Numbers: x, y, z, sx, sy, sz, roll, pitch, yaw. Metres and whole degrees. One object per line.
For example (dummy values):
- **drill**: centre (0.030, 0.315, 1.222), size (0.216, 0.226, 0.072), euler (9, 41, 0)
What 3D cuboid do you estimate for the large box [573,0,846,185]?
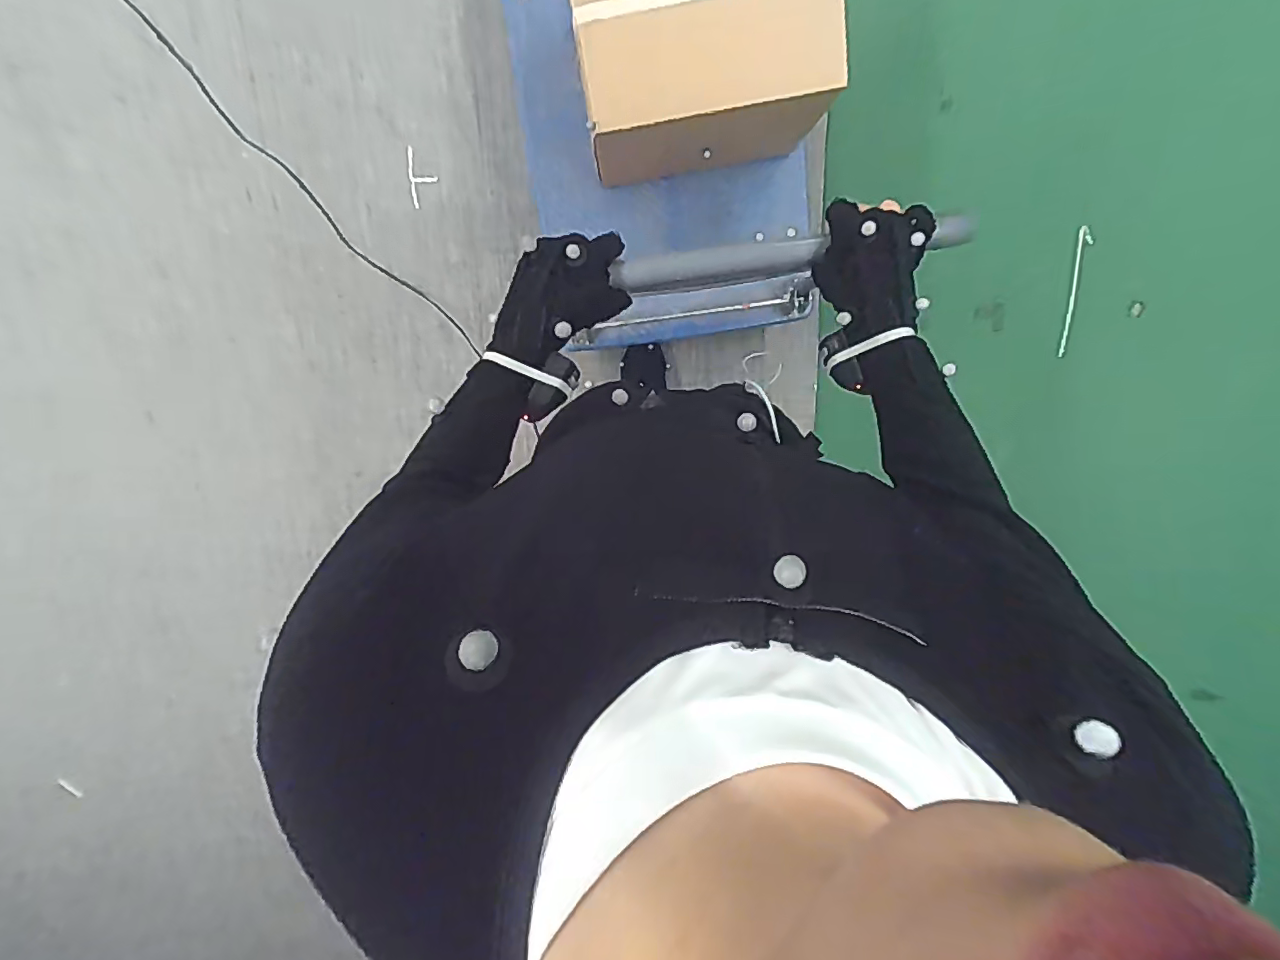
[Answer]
- **large box**: centre (0.104, -0.770, 0.968), size (0.408, 0.320, 0.320), euler (-10, 104, 3)
